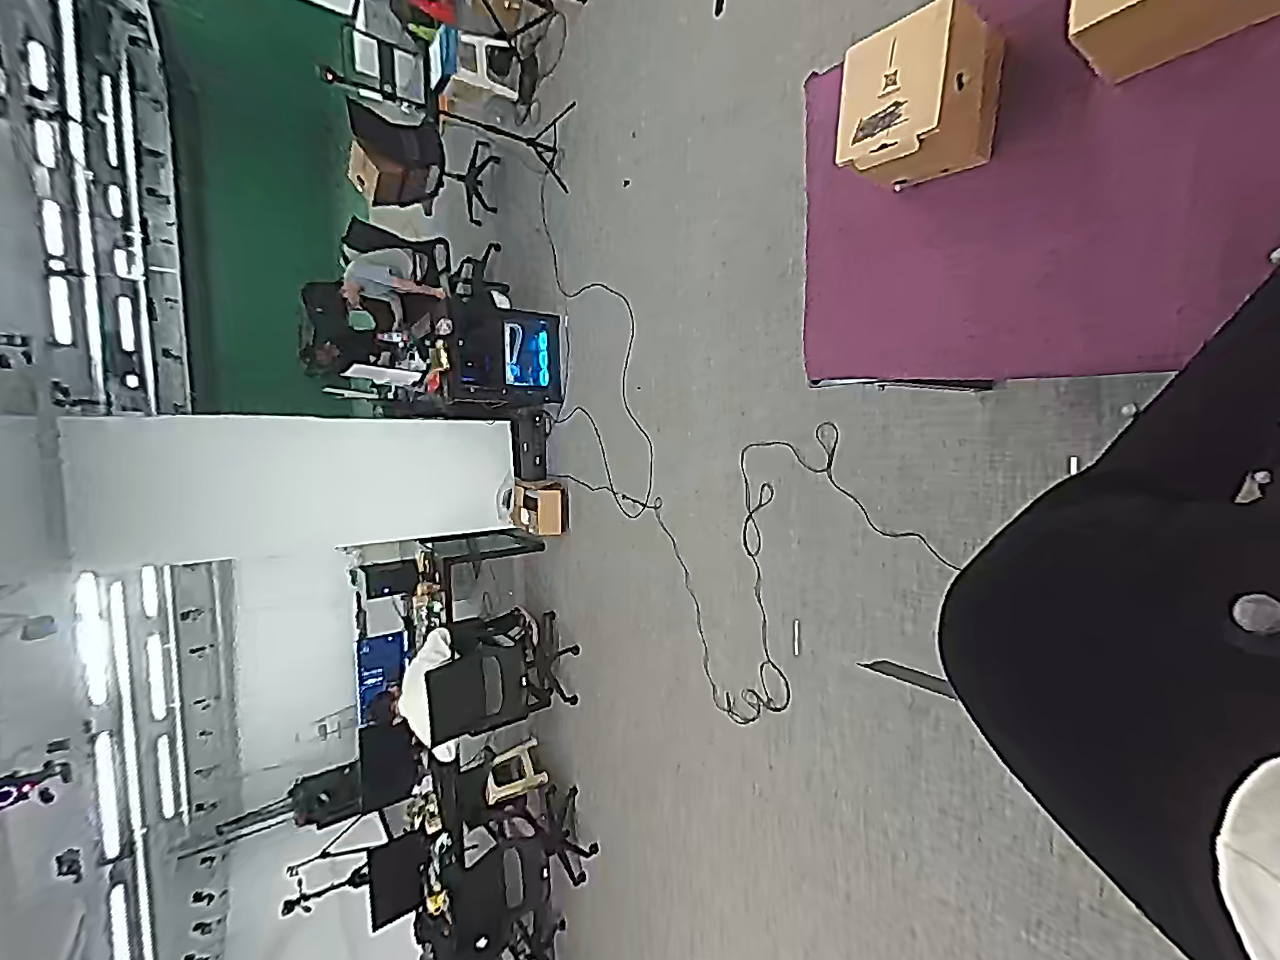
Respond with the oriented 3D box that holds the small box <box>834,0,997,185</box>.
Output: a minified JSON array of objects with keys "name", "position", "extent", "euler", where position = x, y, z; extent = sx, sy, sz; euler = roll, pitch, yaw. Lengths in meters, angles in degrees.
[{"name":"small box","position":[0.430,-0.585,0.846],"extent":[0.168,0.176,0.179],"euler":[14,105,53]}]
